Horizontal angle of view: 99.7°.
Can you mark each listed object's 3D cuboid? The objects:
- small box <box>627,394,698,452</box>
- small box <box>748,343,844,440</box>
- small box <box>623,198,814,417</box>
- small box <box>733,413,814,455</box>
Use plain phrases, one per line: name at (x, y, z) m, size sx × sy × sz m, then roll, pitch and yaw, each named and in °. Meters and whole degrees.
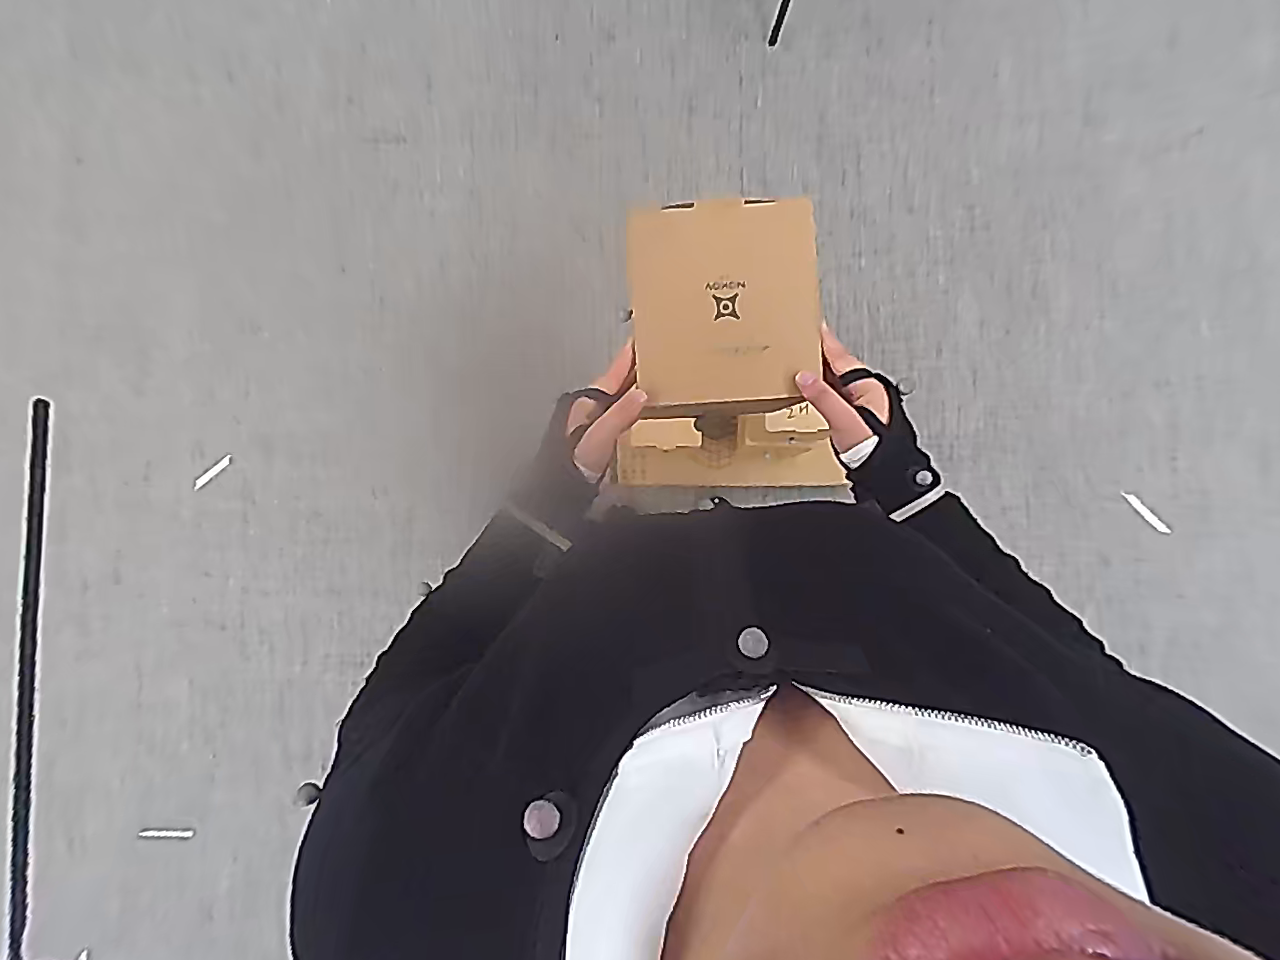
small box at (0.057, -0.162, 1.337) m, size 0.168 × 0.176 × 0.179 m, roll 1°, pitch 88°, yaw 2°
small box at (0.328, -0.185, 1.168) m, size 0.168 × 0.176 × 0.179 m, roll -1°, pitch 87°, yaw 2°
small box at (0.068, -0.162, 0.557) m, size 0.168 × 0.176 × 0.179 m, roll -3°, pitch 92°, yaw -1°
small box at (0.326, -0.161, 1.333) m, size 0.168 × 0.176 × 0.179 m, roll 3°, pitch 88°, yaw 2°
